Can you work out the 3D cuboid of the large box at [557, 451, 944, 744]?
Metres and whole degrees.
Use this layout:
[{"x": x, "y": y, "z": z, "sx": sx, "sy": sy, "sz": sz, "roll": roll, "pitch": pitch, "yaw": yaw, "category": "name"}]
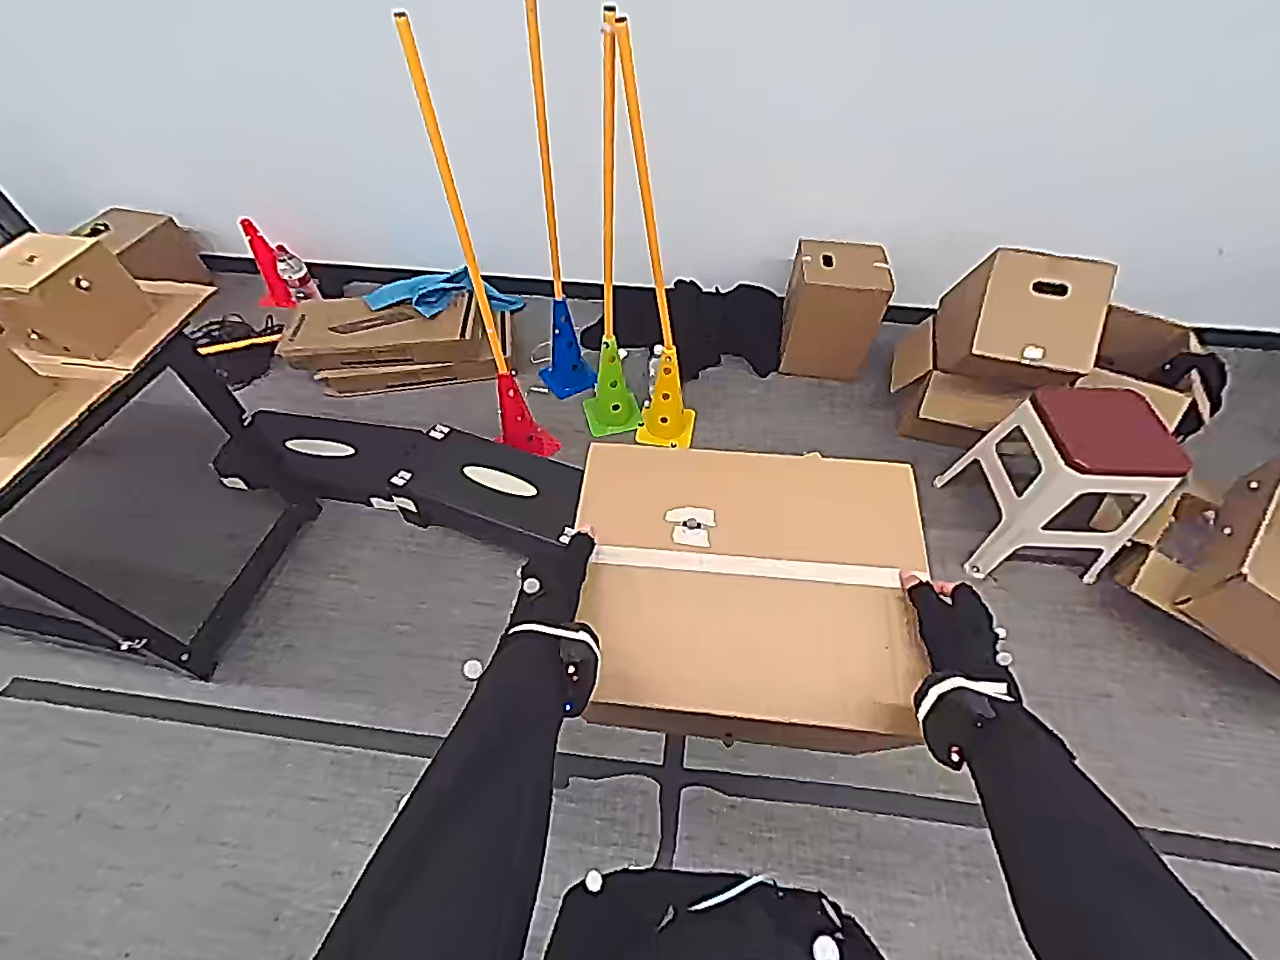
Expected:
[{"x": 0.131, "y": 0.177, "z": 0.756, "sx": 0.408, "sy": 0.320, "sz": 0.320, "roll": 4, "pitch": 60, "yaw": 5, "category": "large box"}]
